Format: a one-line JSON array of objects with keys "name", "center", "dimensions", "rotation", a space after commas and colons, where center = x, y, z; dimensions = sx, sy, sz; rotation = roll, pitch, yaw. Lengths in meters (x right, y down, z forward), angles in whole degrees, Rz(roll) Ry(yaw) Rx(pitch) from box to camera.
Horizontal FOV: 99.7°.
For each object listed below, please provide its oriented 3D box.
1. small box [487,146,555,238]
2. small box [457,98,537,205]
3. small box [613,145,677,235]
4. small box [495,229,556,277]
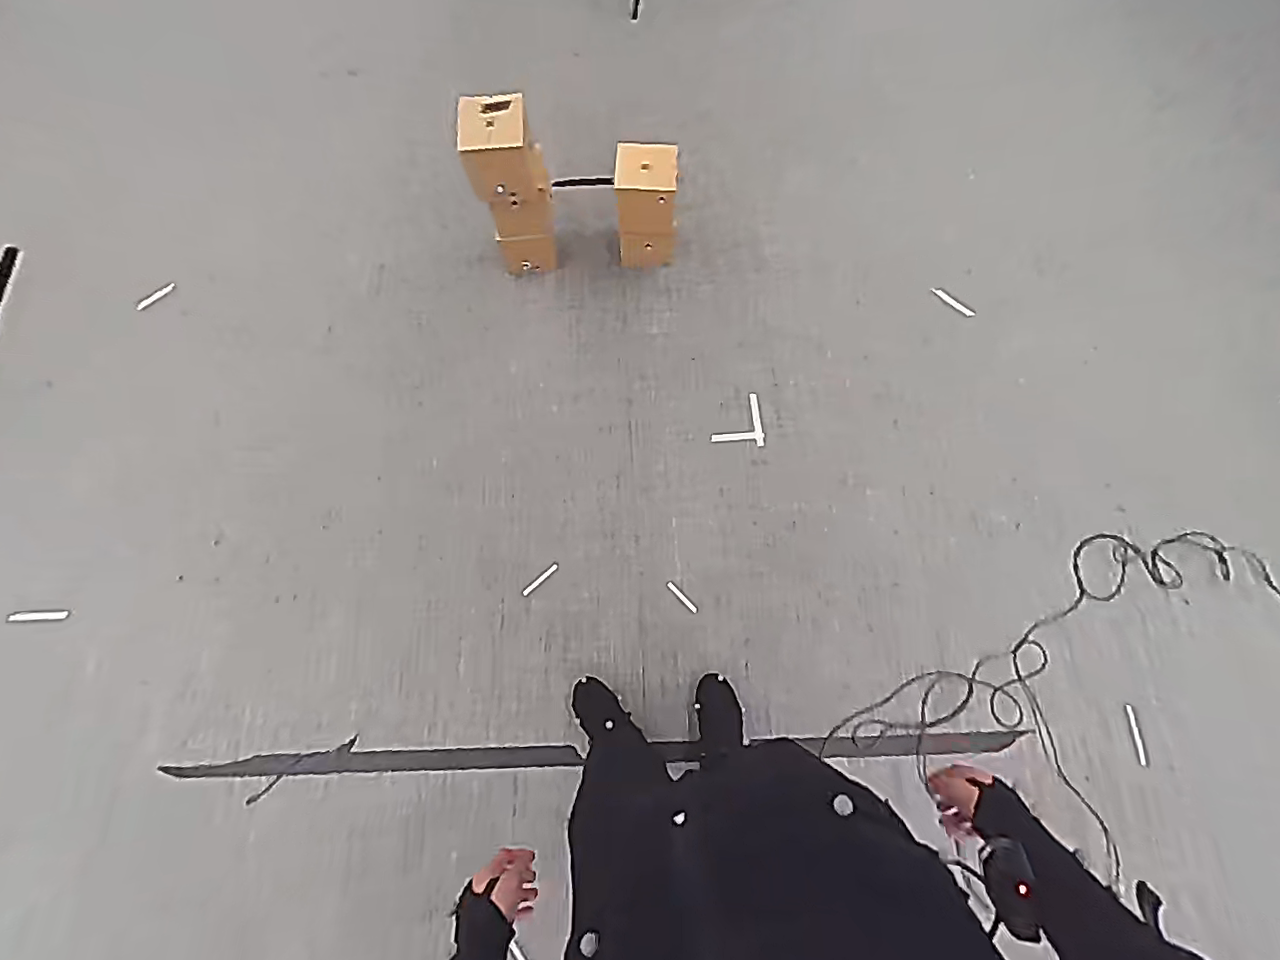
[{"name": "small box", "center": [-0.356, -0.838, 1.590], "dimensions": [0.179, 0.176, 0.168], "rotation": [-8, 73, -2]}, {"name": "small box", "center": [-0.372, -0.862, 1.426], "dimensions": [0.168, 0.176, 0.179], "rotation": [-4, 74, 1]}, {"name": "small box", "center": [0.017, -0.849, 1.592], "dimensions": [0.179, 0.176, 0.168], "rotation": [2, 73, 0]}, {"name": "small box", "center": [-0.368, -0.786, 1.745], "dimensions": [0.168, 0.176, 0.179], "rotation": [-7, 73, -1]}]
